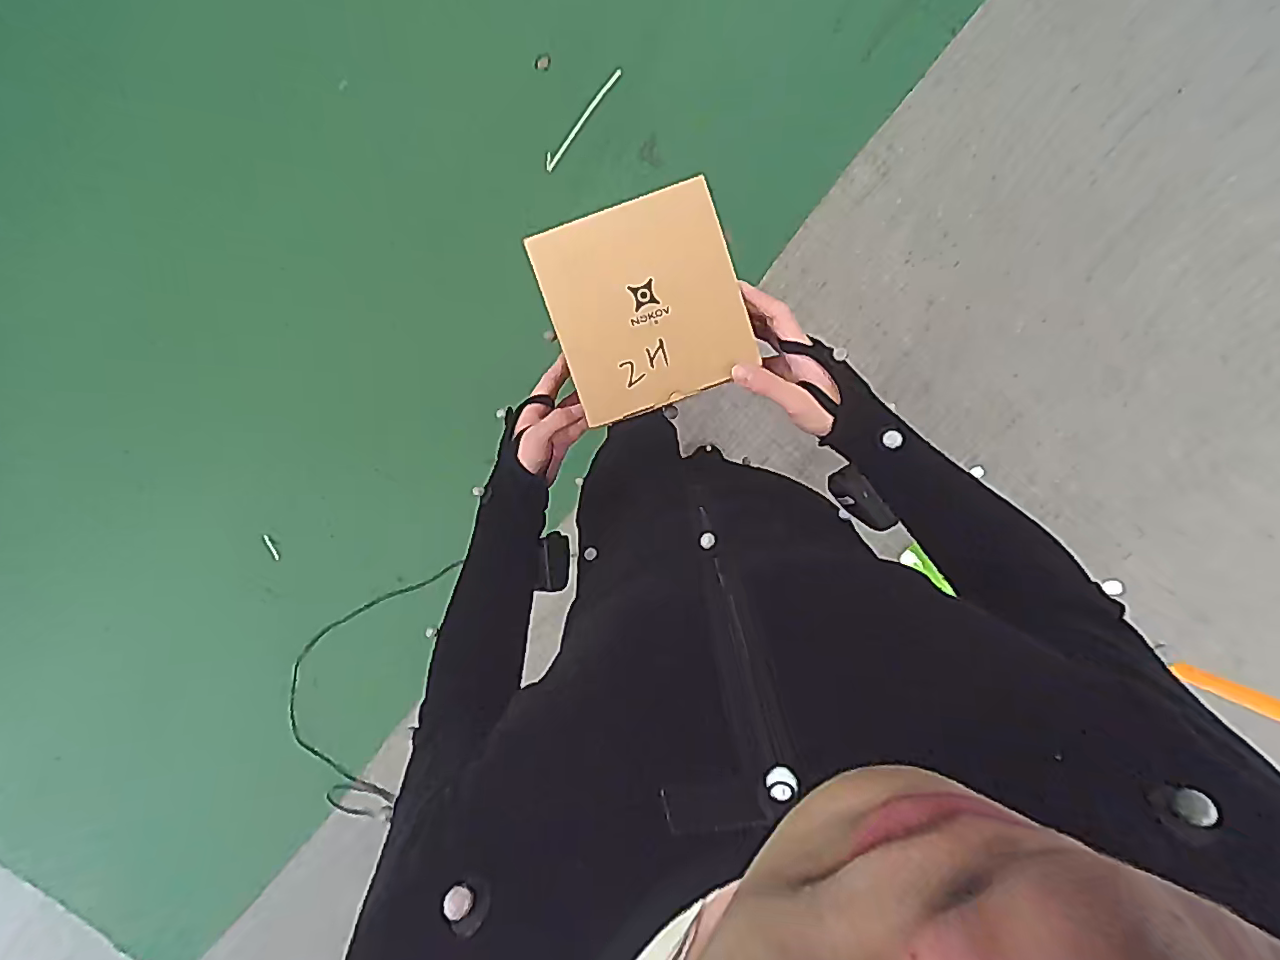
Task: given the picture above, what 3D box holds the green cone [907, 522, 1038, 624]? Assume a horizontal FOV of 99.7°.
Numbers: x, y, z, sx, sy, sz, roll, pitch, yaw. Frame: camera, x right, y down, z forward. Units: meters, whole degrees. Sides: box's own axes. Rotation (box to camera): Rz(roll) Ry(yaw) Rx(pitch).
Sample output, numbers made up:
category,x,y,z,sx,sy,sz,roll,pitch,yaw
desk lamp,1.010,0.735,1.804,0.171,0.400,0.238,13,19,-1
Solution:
category,x,y,z,sx,sy,sz,roll,pitch,yaw
green cone,0.887,0.272,1.384,0.200,0.368,0.202,40,100,-2
